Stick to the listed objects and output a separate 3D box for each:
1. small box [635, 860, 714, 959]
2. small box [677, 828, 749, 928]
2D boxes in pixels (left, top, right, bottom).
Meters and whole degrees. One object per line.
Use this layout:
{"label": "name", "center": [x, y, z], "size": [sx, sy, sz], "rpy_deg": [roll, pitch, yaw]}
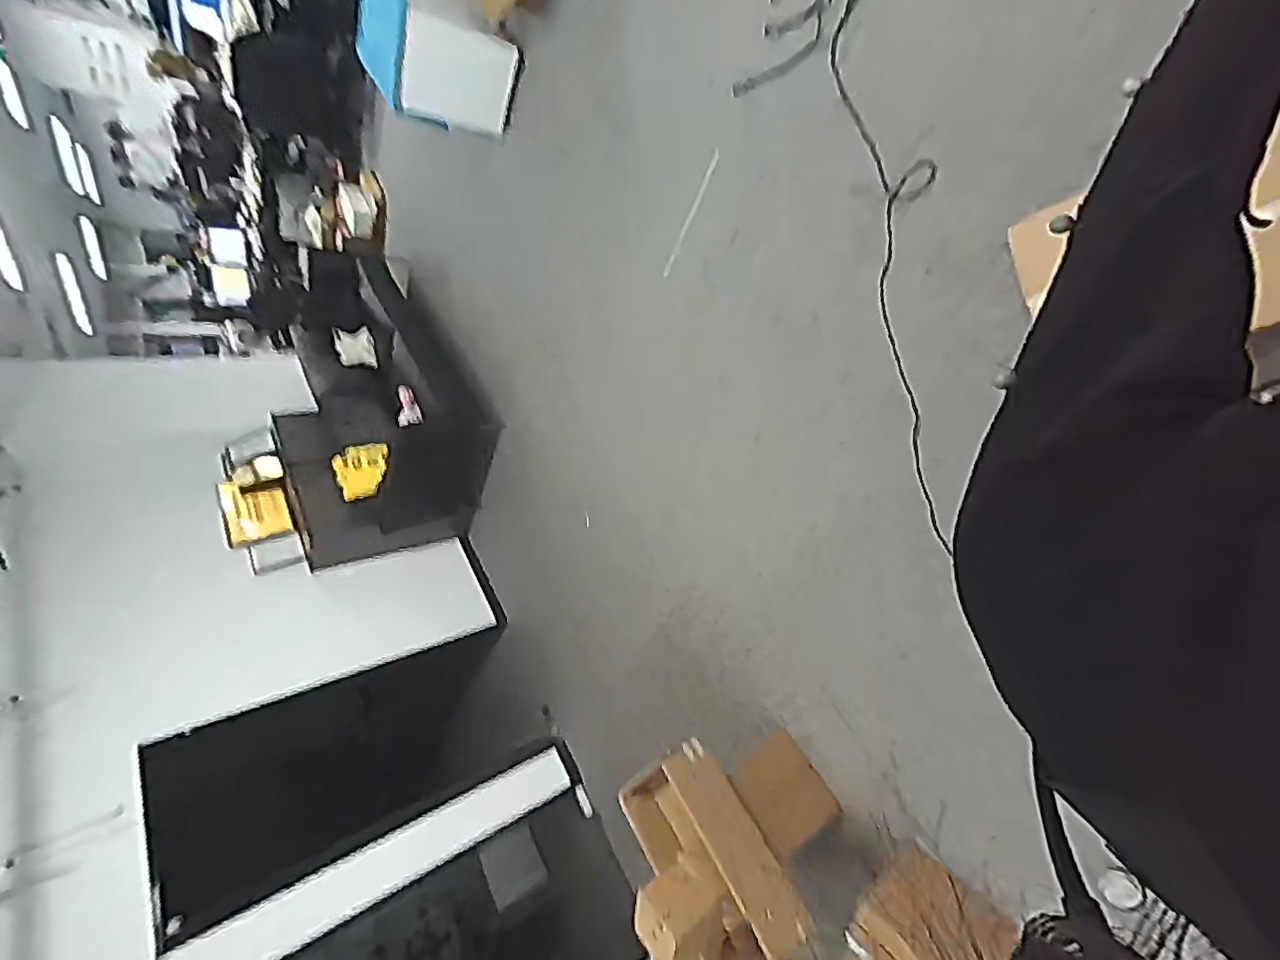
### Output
{"label": "small box", "center": [0.105, 1.303, 1.619], "size": [0.168, 0.176, 0.179], "rpy_deg": [25, 118, 46]}
{"label": "small box", "center": [0.225, 1.267, 1.727], "size": [0.168, 0.176, 0.179], "rpy_deg": [33, 123, 44]}
